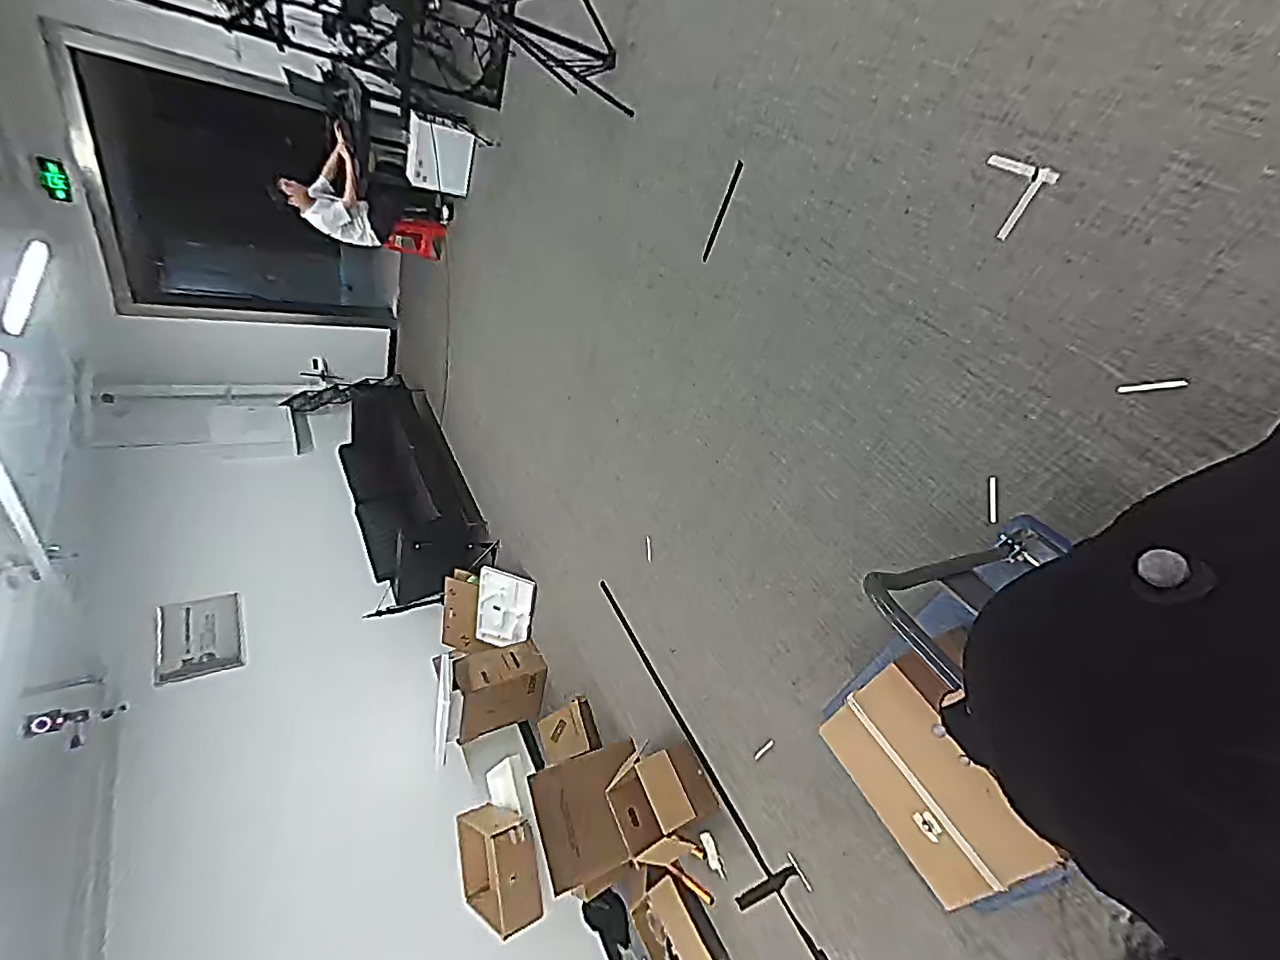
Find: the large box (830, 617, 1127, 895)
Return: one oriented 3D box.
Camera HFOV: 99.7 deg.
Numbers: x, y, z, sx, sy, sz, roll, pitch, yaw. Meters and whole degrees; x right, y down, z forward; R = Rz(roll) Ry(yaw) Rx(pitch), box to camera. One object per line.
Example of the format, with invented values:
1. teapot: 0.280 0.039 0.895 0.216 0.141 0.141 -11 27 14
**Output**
1. large box: 0.726 0.584 1.206 0.408 0.320 0.320 54 136 35
